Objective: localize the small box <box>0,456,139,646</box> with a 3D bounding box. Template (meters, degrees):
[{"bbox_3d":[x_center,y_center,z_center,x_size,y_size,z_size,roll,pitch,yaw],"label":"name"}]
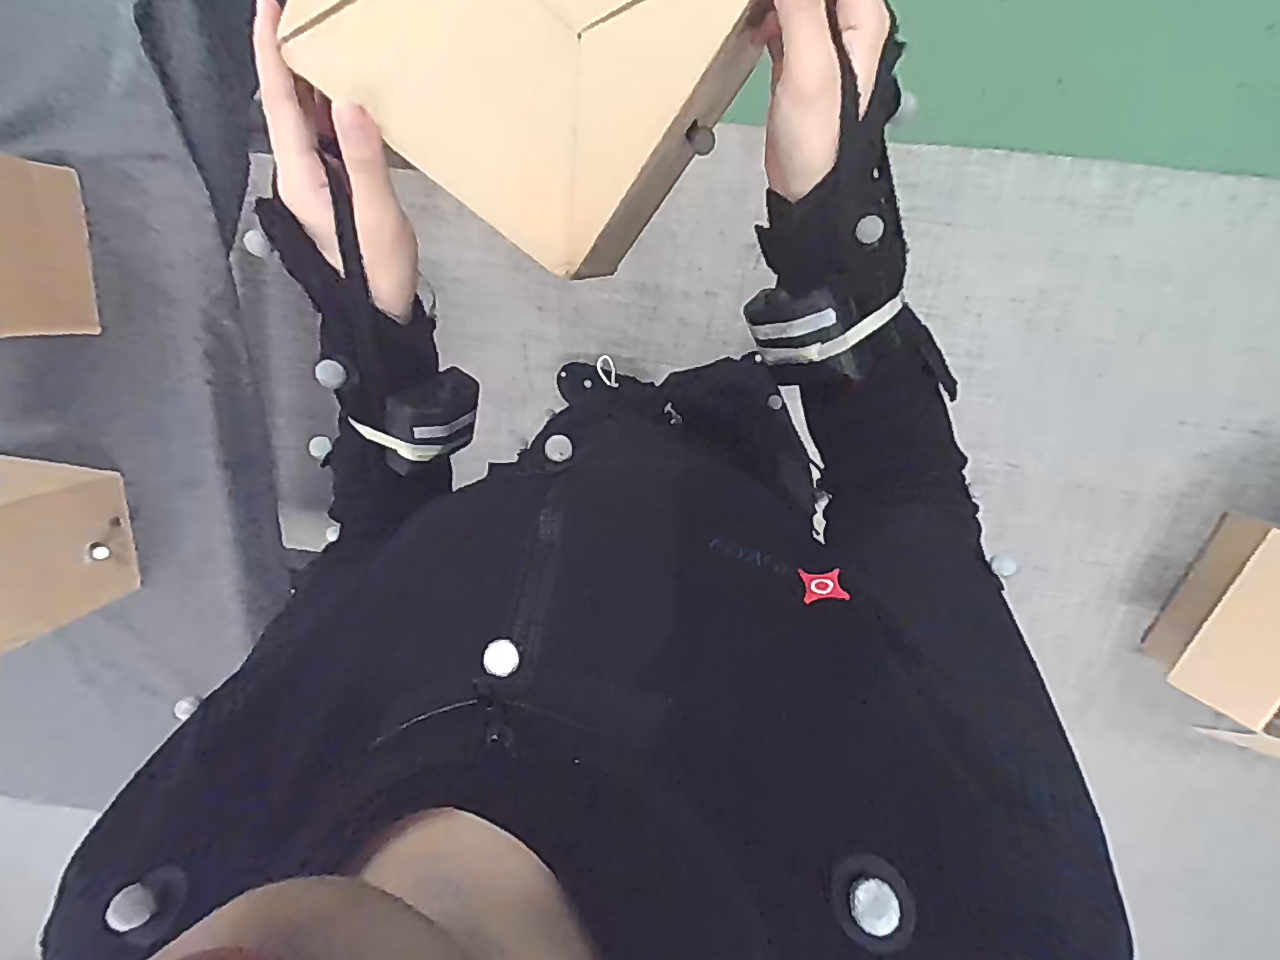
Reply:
[{"bbox_3d":[-0.758,0.075,0.636,0.179,0.176,0.168,8,107,2],"label":"small box"}]

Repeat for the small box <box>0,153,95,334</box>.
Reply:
[{"bbox_3d":[-0.706,-0.244,0.538,0.168,0.176,0.179,10,107,2],"label":"small box"}]
